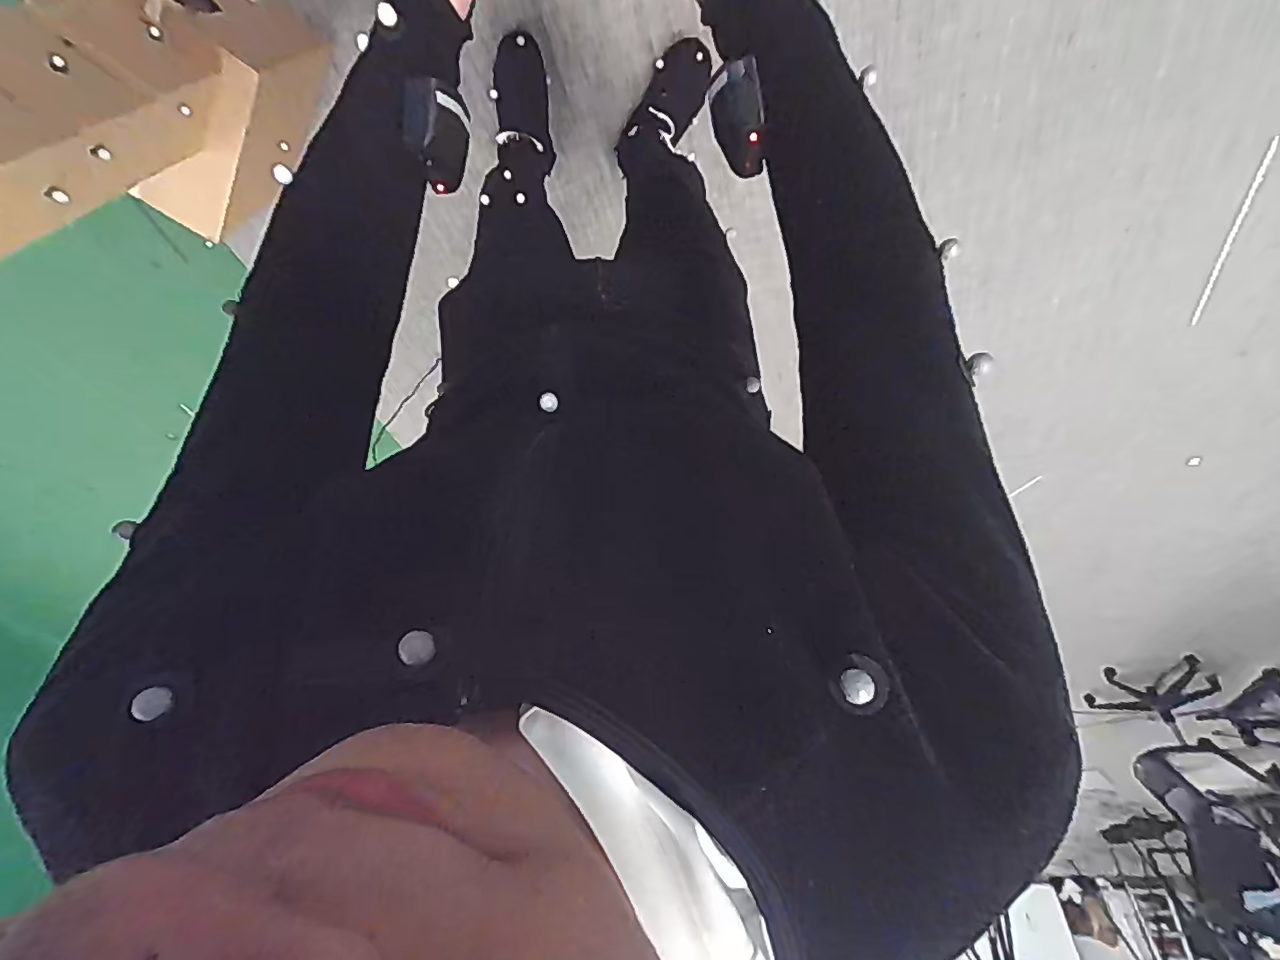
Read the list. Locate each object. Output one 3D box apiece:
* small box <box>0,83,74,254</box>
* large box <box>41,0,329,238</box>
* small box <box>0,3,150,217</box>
[{"bbox_3d":[-0.863,-0.408,0.666,0.168,0.176,0.179,35,128,-29],"label":"small box"},{"bbox_3d":[-0.896,-0.802,1.090,0.320,0.320,0.408,32,131,-25],"label":"large box"},{"bbox_3d":[-0.859,-0.529,0.776,0.168,0.176,0.179,35,129,-29],"label":"small box"}]
